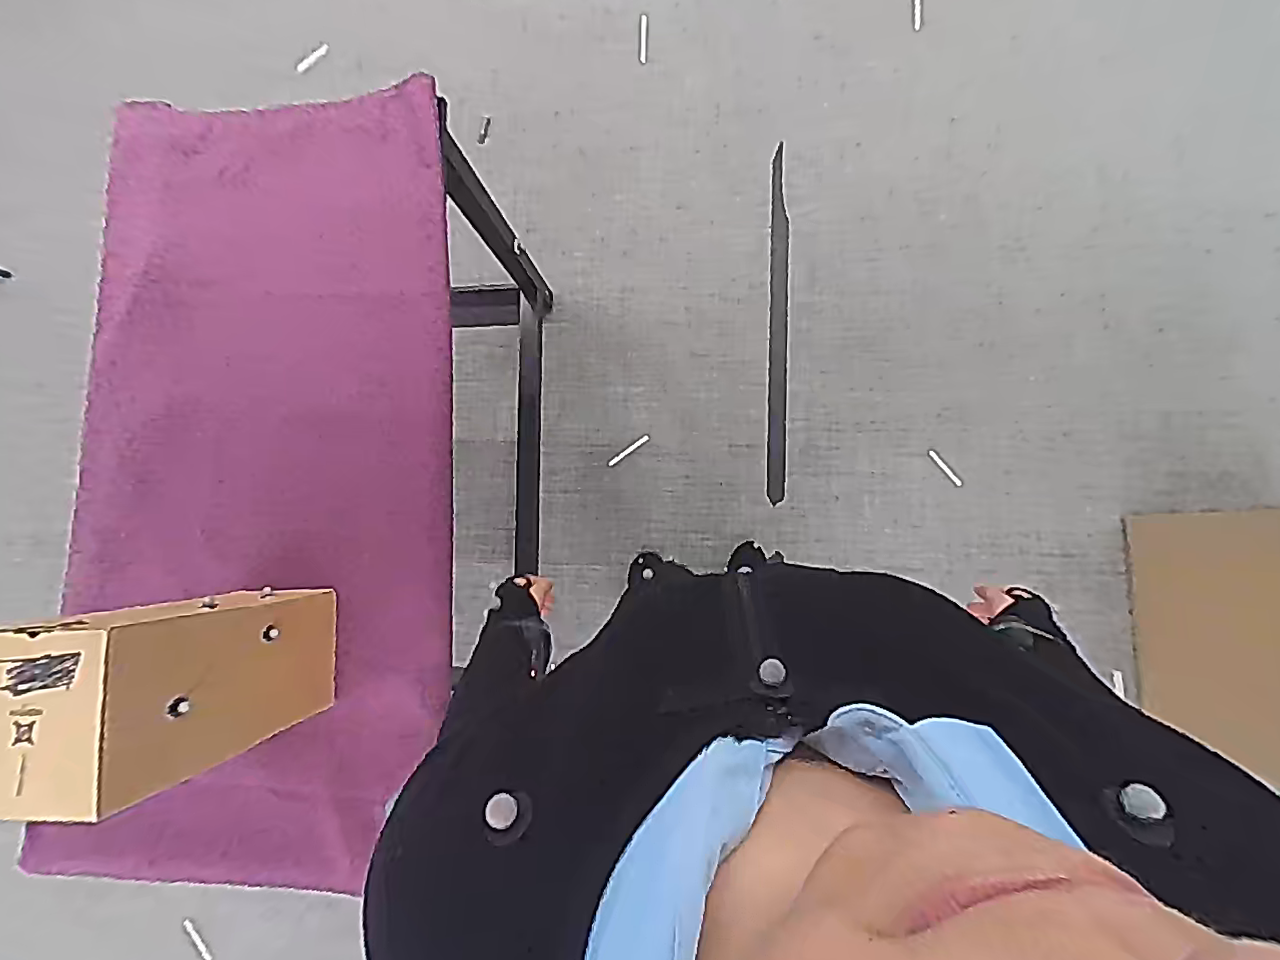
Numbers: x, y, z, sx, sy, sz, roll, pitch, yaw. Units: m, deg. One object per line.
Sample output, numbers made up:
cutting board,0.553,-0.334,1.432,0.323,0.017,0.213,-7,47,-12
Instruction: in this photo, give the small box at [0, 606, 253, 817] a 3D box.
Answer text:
small box,-0.561,0.234,0.589,0.168,0.176,0.179,-3,85,6

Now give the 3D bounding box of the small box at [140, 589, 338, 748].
small box,-0.549,0.251,0.752,0.168,0.176,0.179,-3,84,6
